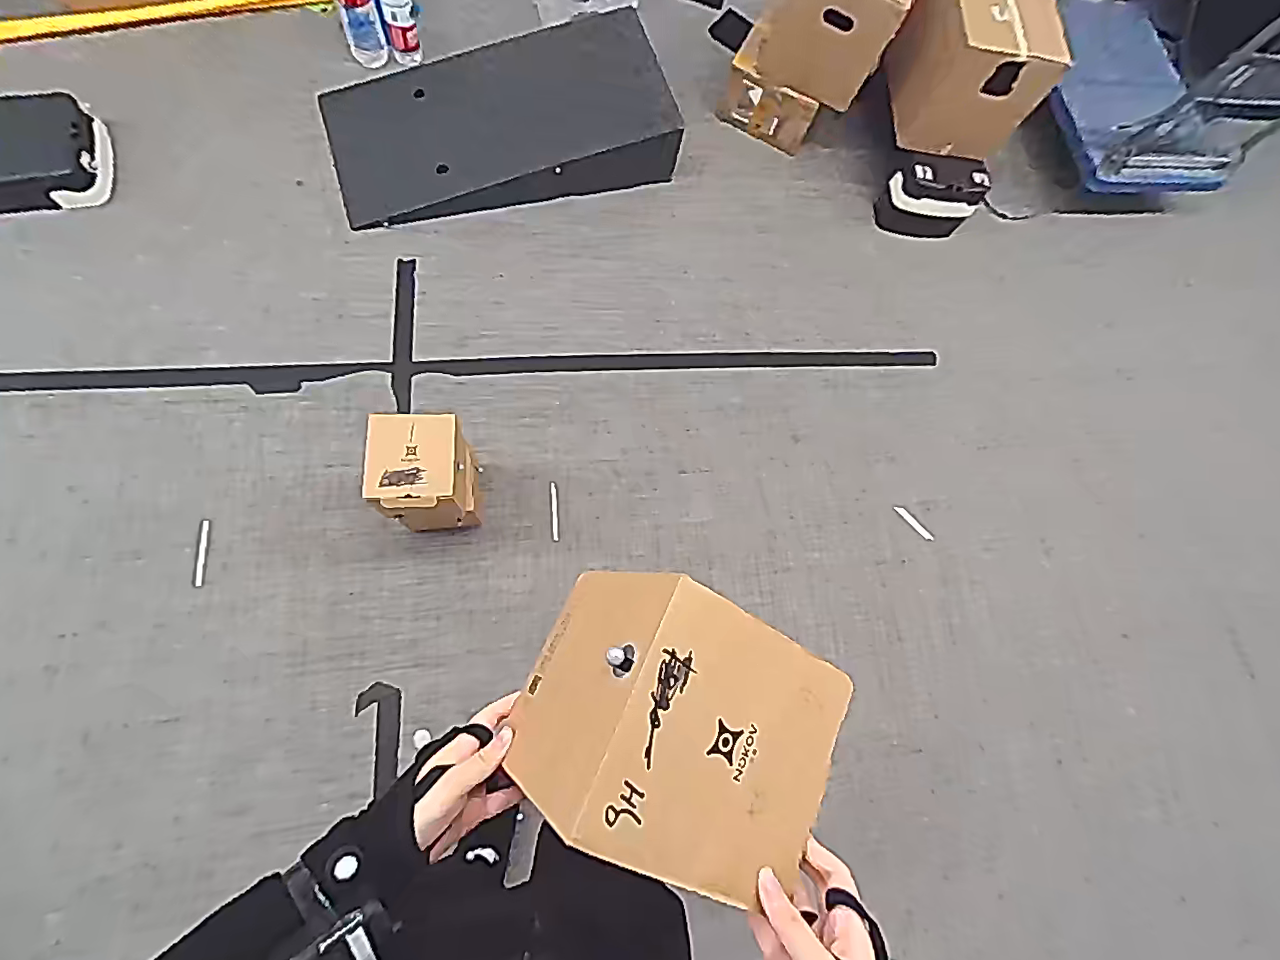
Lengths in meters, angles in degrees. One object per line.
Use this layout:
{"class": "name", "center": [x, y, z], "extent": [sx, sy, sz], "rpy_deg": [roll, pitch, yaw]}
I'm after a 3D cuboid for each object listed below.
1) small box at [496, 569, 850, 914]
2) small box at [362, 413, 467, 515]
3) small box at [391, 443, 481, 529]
{"class": "small box", "center": [0.020, 0.178, 0.415], "extent": [0.179, 0.176, 0.168], "rpy_deg": [36, 66, -21]}
{"class": "small box", "center": [-0.455, -0.025, 1.117], "extent": [0.168, 0.176, 0.179], "rpy_deg": [0, 72, -10]}
{"class": "small box", "center": [-0.472, 0.017, 1.274], "extent": [0.179, 0.176, 0.168], "rpy_deg": [-3, 74, -10]}
